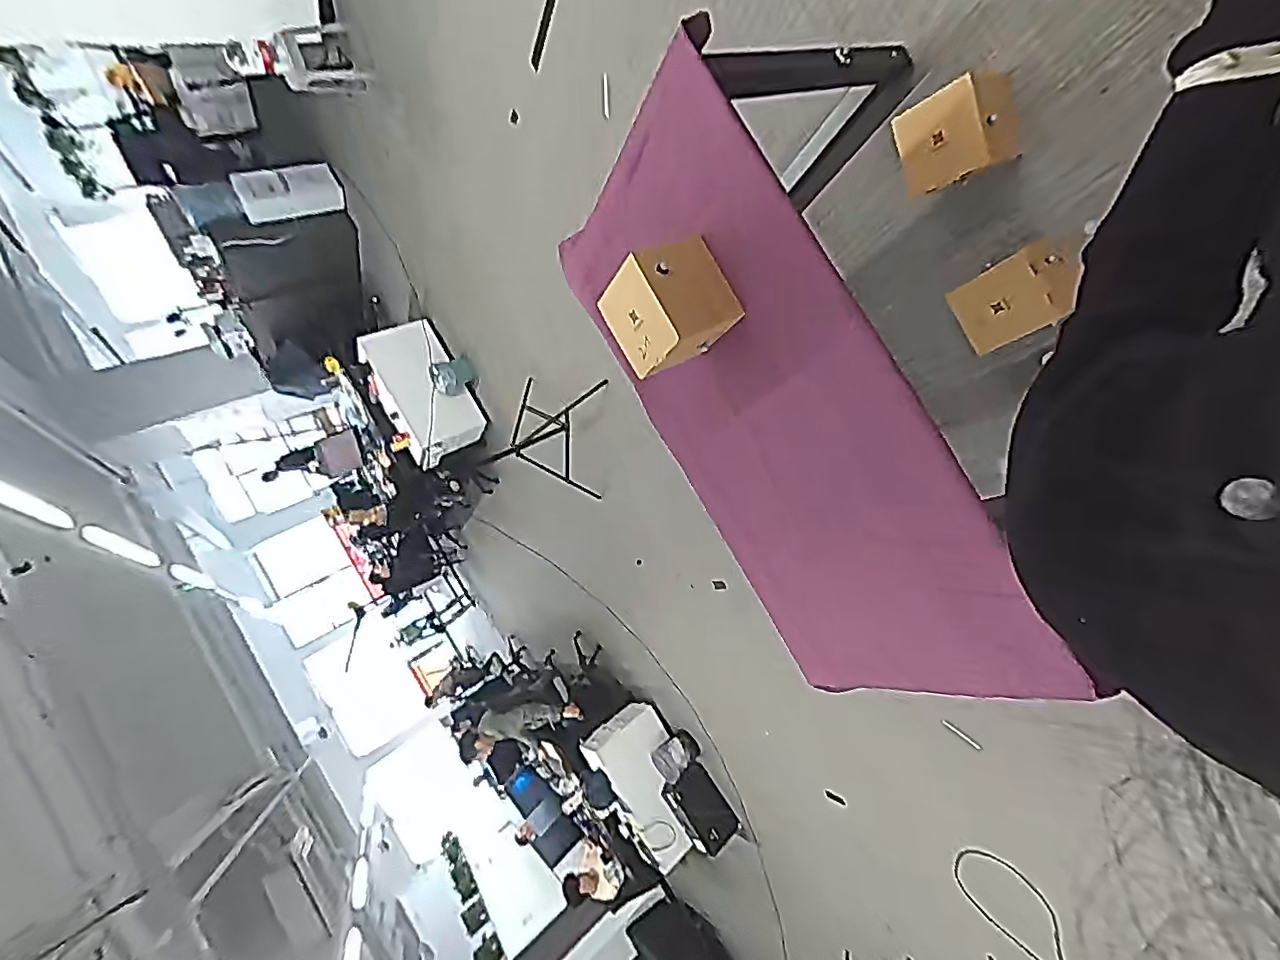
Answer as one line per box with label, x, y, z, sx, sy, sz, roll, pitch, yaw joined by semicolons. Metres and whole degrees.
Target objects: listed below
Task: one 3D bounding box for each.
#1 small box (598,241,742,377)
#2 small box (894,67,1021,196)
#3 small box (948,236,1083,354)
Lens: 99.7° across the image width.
small box;0.056;-0.325;1.018;0.179;0.176;0.168;60;151;1
small box;0.686;-0.750;1.168;0.168;0.176;0.179;-3;113;57
small box;0.847;-0.416;1.212;0.168;0.176;0.179;61;151;1
